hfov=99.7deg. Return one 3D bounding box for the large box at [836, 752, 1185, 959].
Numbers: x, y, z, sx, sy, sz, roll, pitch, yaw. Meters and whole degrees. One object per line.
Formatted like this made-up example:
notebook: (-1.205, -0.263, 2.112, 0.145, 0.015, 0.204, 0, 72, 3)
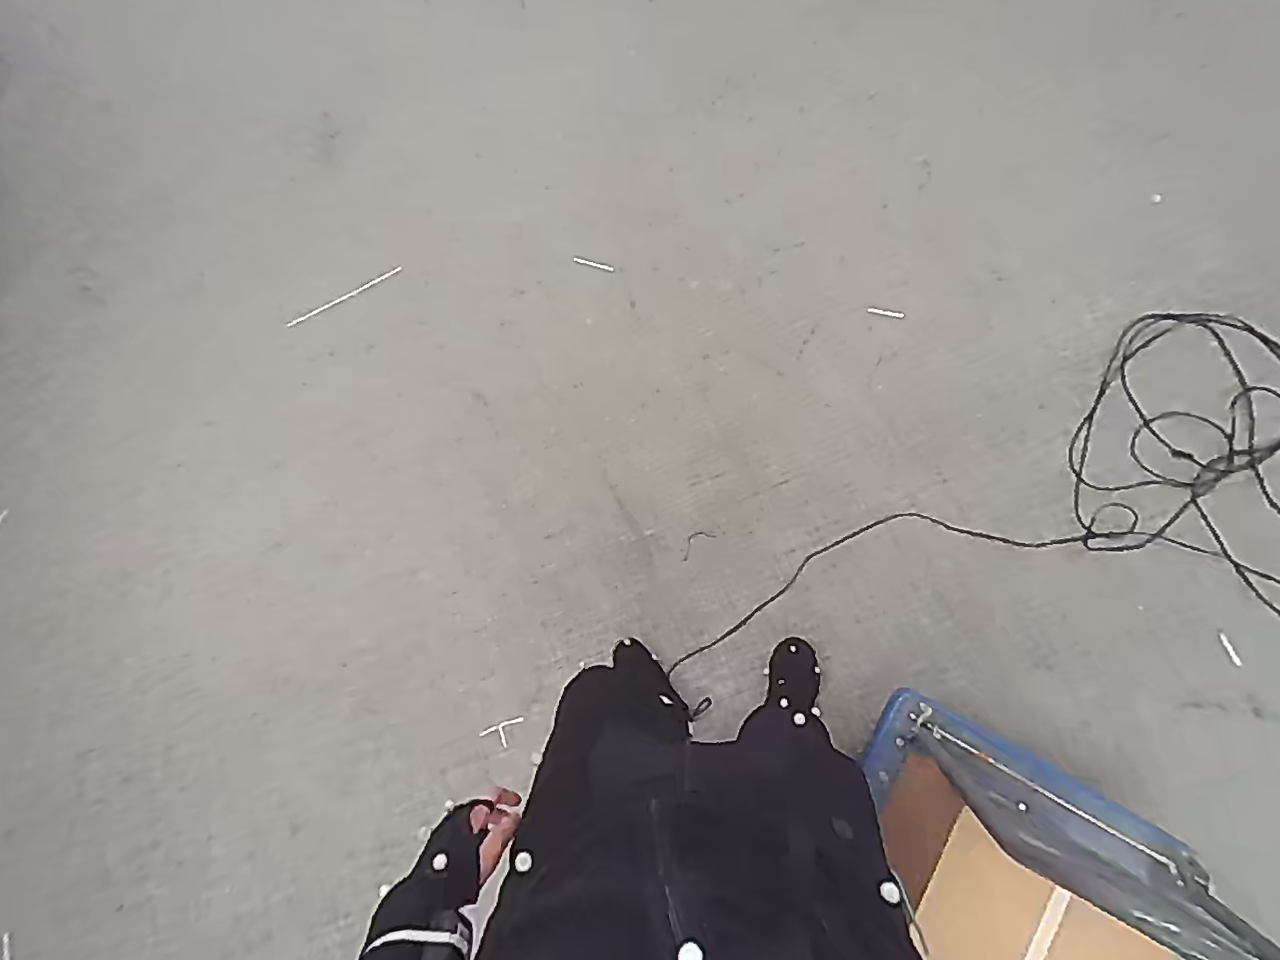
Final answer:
large box: (0.583, 0.769, 0.927, 0.320, 0.320, 0.408, 26, 85, 16)
